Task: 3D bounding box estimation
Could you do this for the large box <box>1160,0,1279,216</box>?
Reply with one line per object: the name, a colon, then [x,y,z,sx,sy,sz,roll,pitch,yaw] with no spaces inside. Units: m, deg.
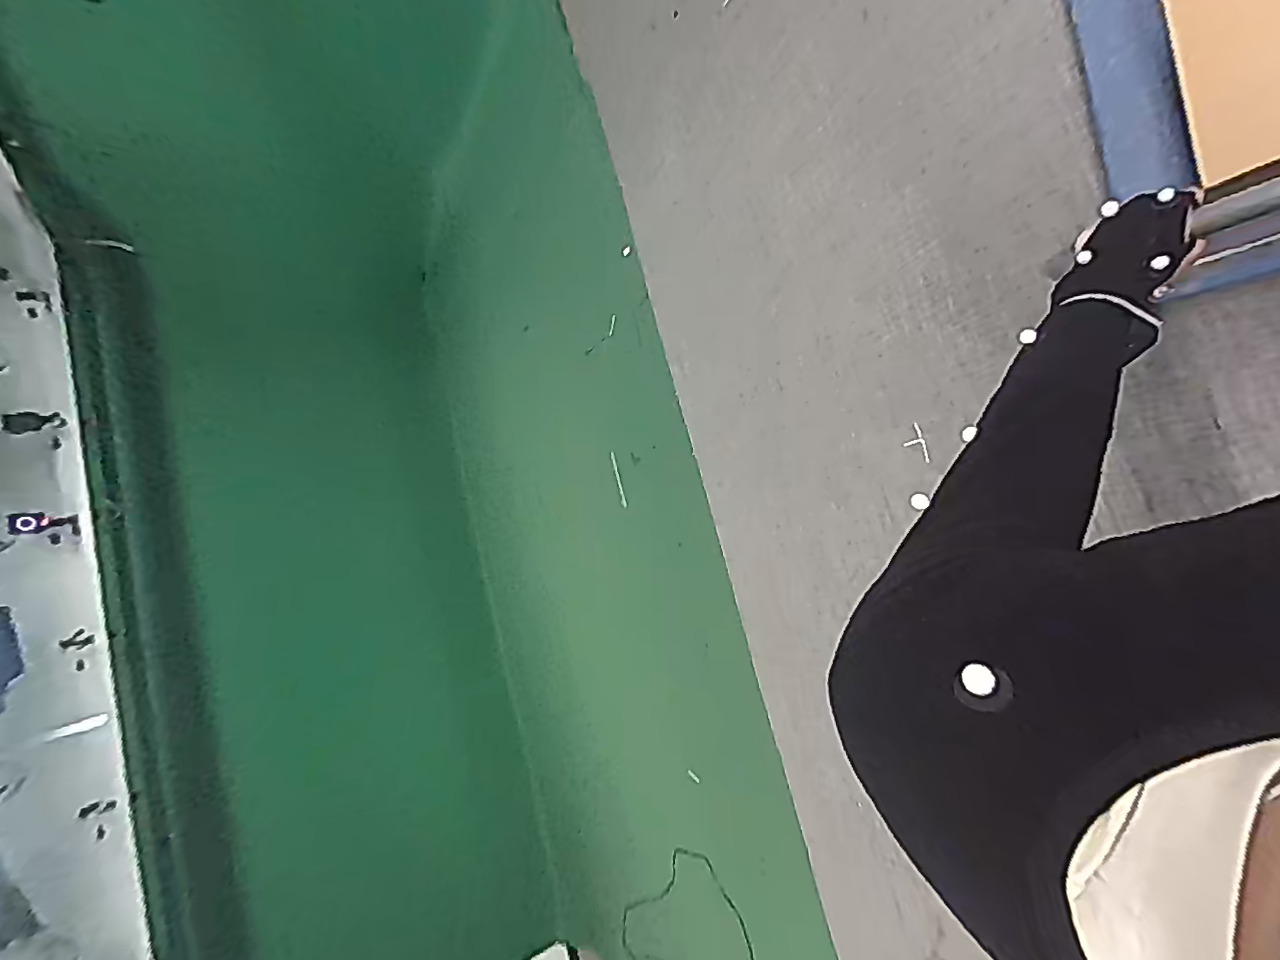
large box: [0.990,-0.656,0.752,0.320,0.320,0.408,-13,86,54]
